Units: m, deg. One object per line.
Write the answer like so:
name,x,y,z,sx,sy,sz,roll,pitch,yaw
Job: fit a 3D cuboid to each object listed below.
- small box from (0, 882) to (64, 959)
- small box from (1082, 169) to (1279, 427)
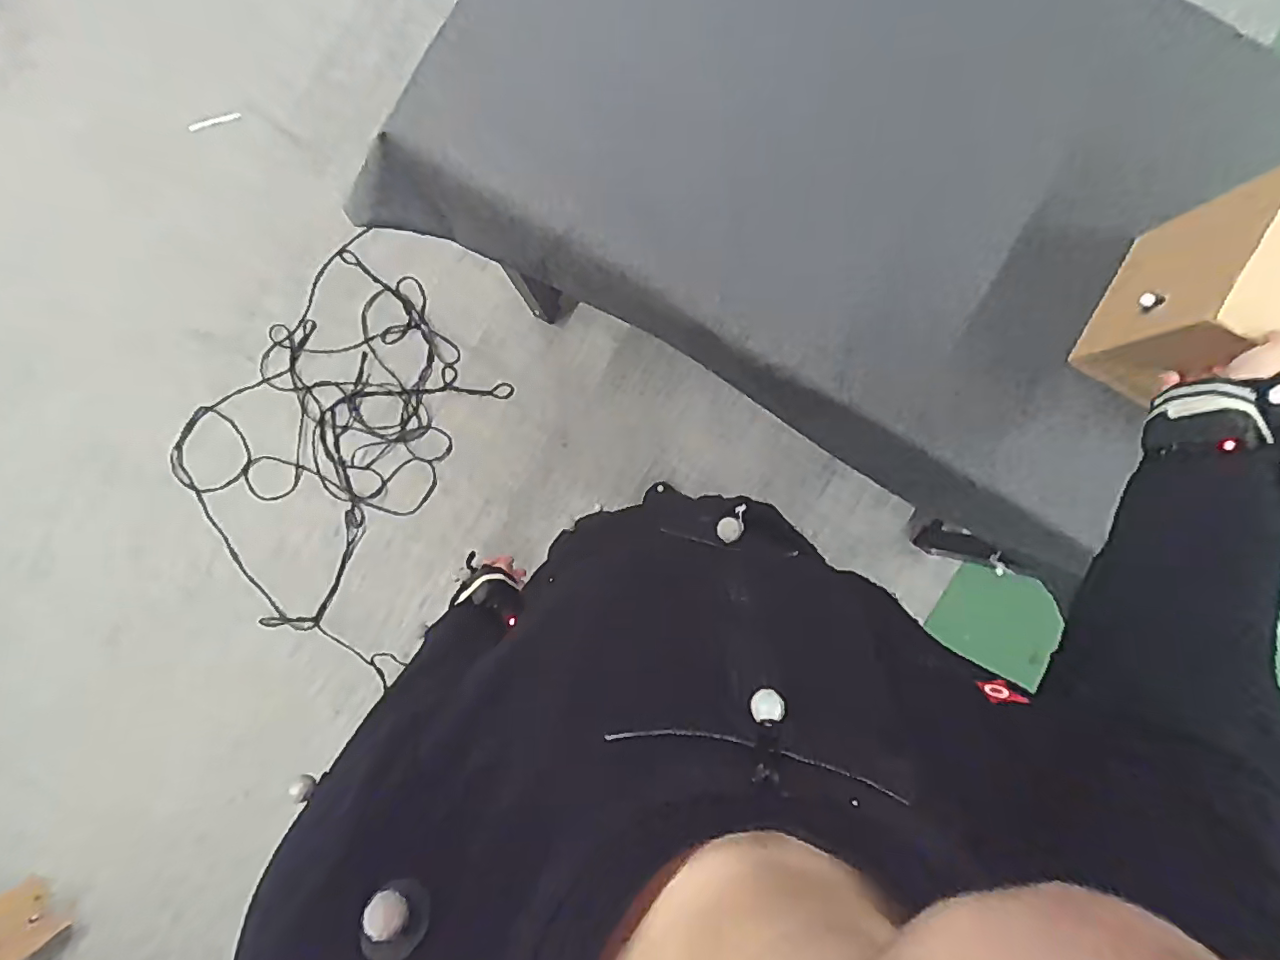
small box,-1.566,1.129,1.290,0.179,0.176,0.168,-40,89,0
small box,0.612,-0.169,0.552,0.168,0.176,0.179,30,88,0
